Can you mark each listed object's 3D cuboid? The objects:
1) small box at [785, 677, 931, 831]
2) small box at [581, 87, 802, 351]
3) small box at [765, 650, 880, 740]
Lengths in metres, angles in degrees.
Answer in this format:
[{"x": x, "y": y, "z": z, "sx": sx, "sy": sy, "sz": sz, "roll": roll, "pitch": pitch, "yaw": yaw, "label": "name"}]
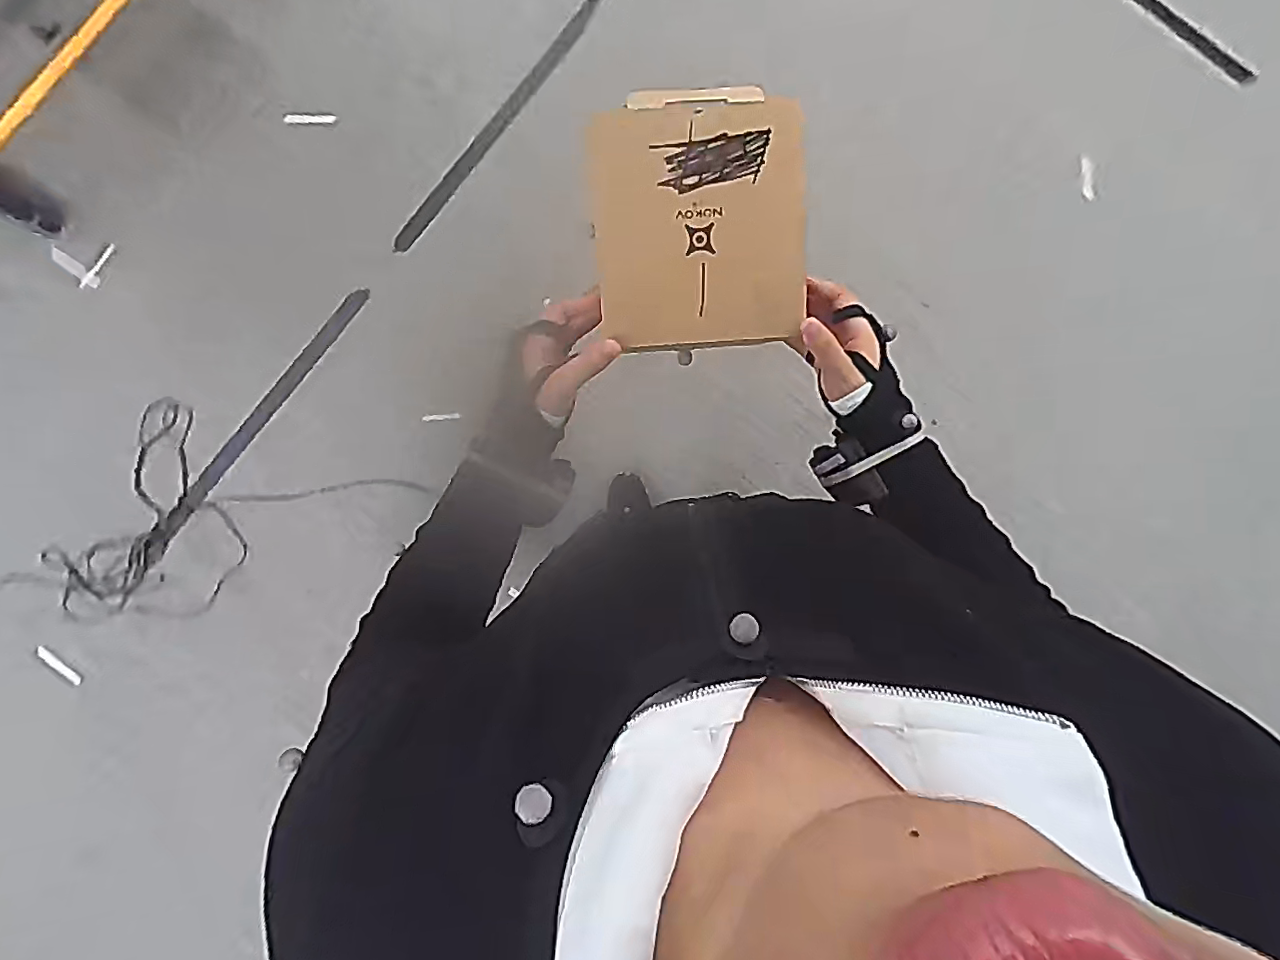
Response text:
[{"x": 0.414, "y": 0.523, "z": 1.062, "sx": 0.168, "sy": 0.176, "sz": 0.179, "roll": 40, "pitch": 88, "yaw": -1, "label": "small box"}, {"x": 0.040, "y": -0.215, "z": 0.493, "sx": 0.168, "sy": 0.176, "sz": 0.179, "roll": -5, "pitch": 102, "yaw": 0, "label": "small box"}, {"x": 0.398, "y": 0.513, "z": 1.225, "sx": 0.168, "sy": 0.176, "sz": 0.179, "roll": 38, "pitch": 88, "yaw": -1, "label": "small box"}]
